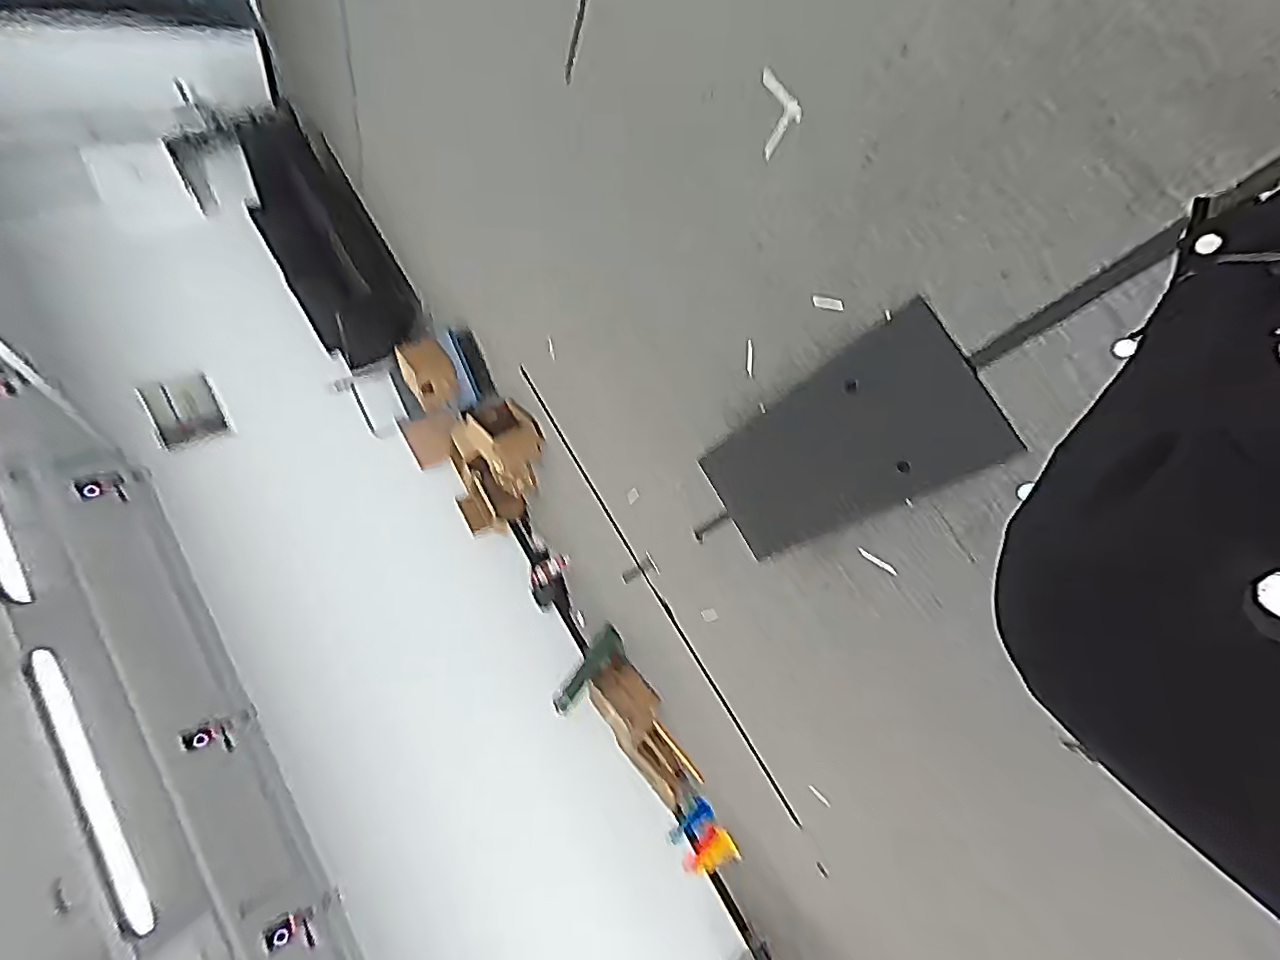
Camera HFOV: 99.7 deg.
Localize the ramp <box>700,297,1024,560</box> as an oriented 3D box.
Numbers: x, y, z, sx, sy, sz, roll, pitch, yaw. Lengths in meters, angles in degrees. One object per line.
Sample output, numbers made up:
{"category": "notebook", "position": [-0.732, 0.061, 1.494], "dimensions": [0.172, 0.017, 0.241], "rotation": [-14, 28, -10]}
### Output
{"category": "ramp", "position": [0.614, -0.093, 1.784], "dimensions": [0.509, 0.206, 0.991], "rotation": [60, 150, 9]}
